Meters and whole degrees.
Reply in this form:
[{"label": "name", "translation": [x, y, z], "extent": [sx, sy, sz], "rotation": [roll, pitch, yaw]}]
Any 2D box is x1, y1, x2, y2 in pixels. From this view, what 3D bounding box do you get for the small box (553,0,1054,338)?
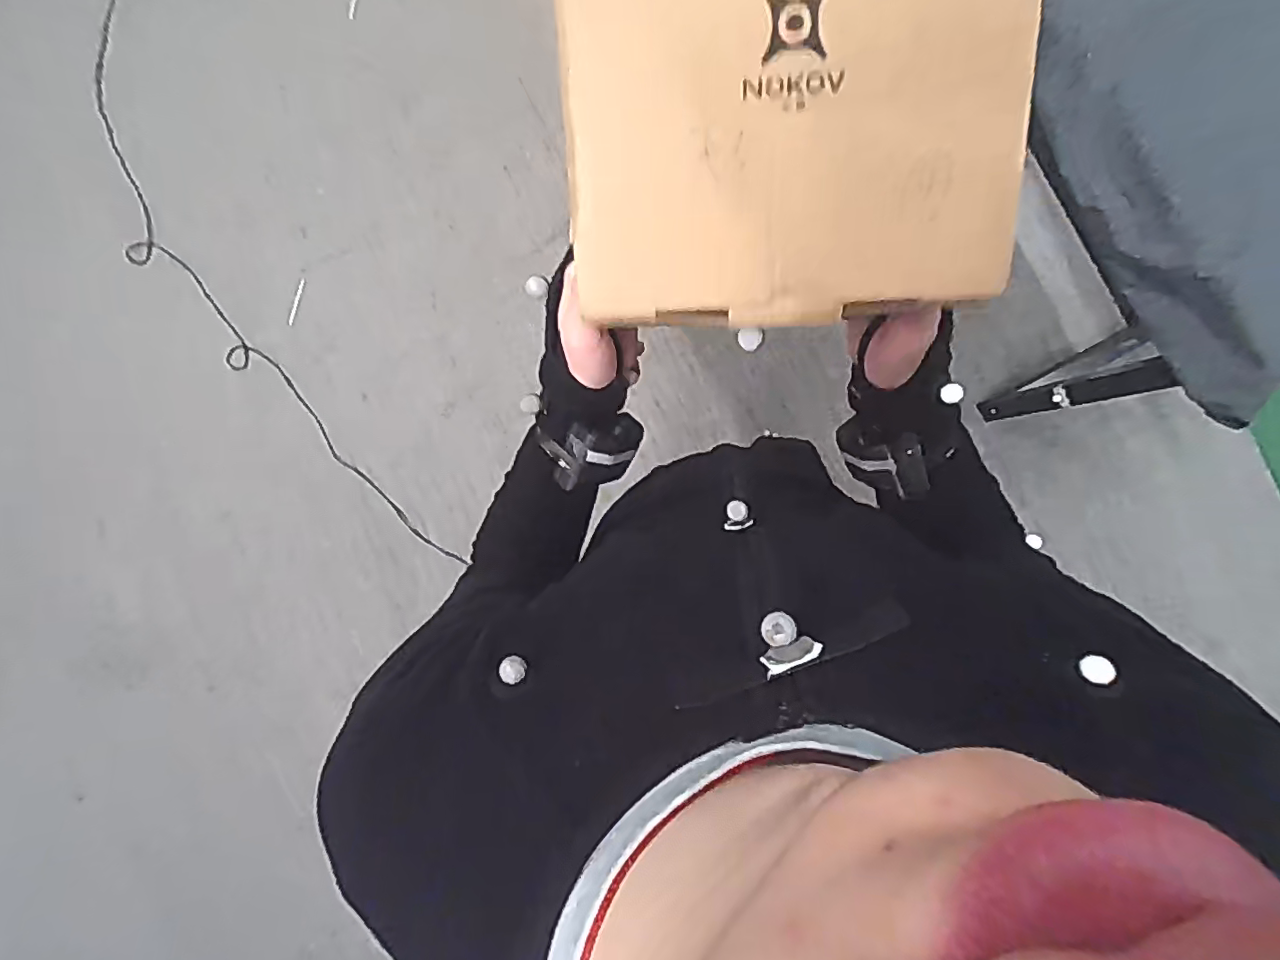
[{"label": "small box", "translation": [0.056, -0.166, 0.259], "extent": [0.168, 0.176, 0.179], "rotation": [-2, 107, 2]}]
